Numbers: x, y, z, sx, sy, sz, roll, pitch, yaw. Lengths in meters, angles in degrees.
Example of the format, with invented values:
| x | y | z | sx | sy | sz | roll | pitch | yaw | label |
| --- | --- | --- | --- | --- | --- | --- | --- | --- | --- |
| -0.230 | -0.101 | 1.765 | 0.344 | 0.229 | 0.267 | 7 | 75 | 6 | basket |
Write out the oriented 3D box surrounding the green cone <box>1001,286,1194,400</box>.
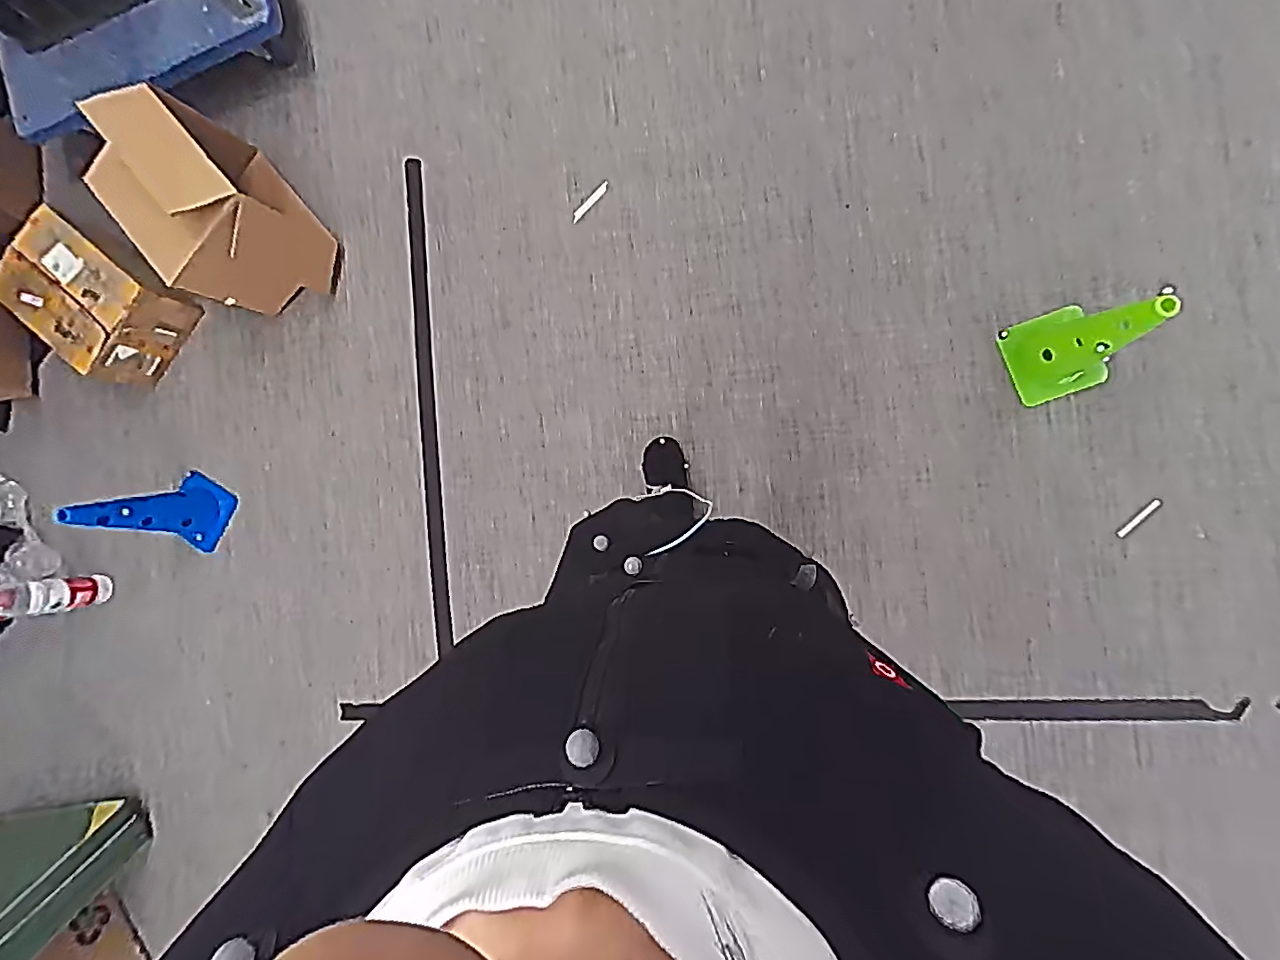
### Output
| x | y | z | sx | sy | sz | roll | pitch | yaw | label |
| --- | --- | --- | --- | --- | --- | --- | --- | --- | --- |
| 0.971 | -0.313 | 1.125 | 0.202 | 0.368 | 0.200 | -21 | 86 | 7 | green cone |
